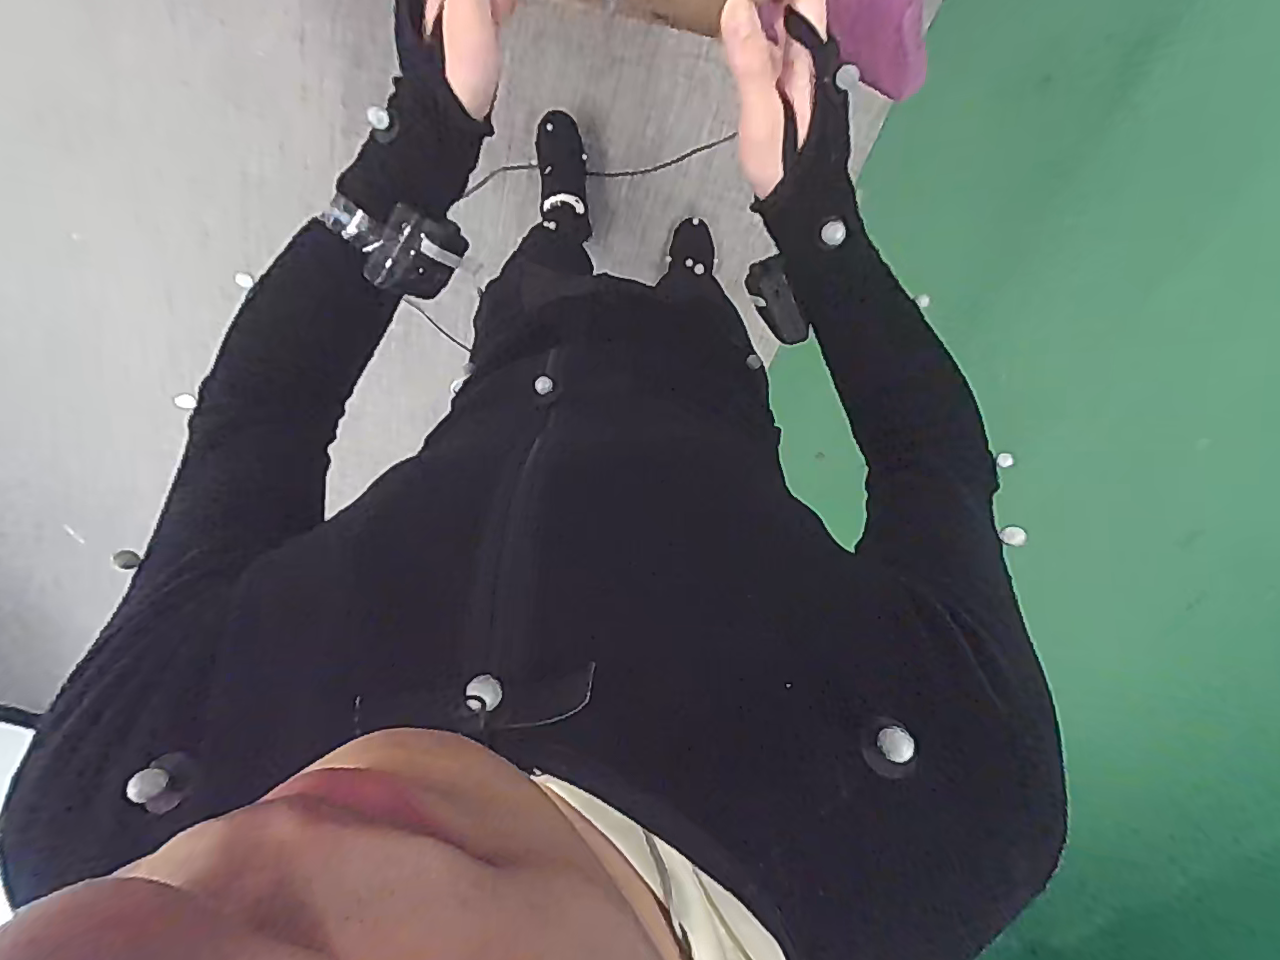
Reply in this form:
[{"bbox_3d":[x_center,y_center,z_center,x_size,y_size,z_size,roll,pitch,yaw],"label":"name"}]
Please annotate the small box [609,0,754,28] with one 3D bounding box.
[{"bbox_3d":[0.009,-0.394,0.302,0.168,0.176,0.179,9,122,-6],"label":"small box"}]
